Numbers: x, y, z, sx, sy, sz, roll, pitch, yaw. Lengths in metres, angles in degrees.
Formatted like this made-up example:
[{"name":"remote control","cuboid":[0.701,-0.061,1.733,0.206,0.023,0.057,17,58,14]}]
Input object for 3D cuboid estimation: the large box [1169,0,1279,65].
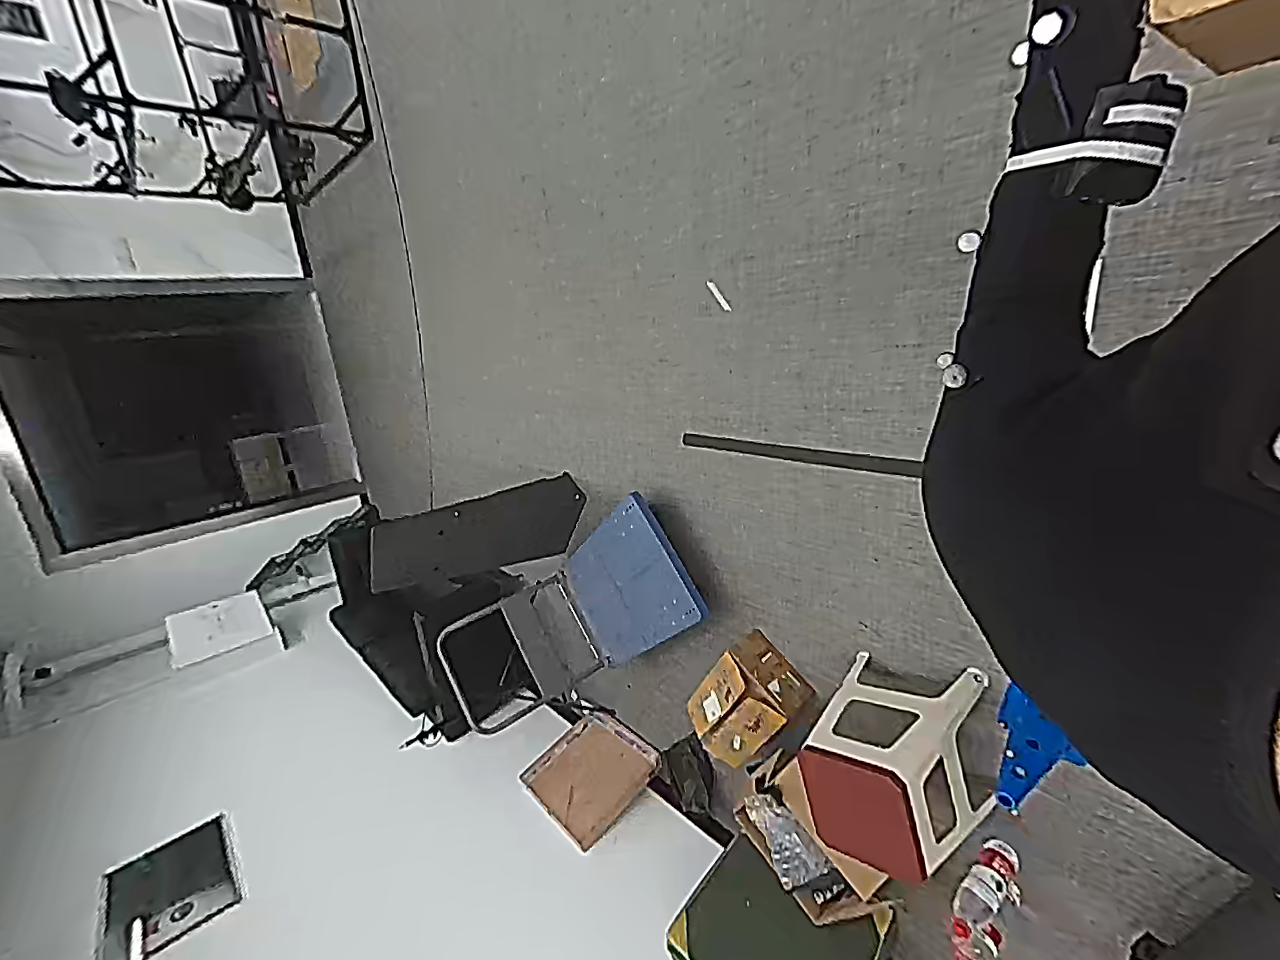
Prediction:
[{"name":"large box","cuboid":[0.534,-0.450,0.224,0.408,0.320,0.320,13,120,48]}]
